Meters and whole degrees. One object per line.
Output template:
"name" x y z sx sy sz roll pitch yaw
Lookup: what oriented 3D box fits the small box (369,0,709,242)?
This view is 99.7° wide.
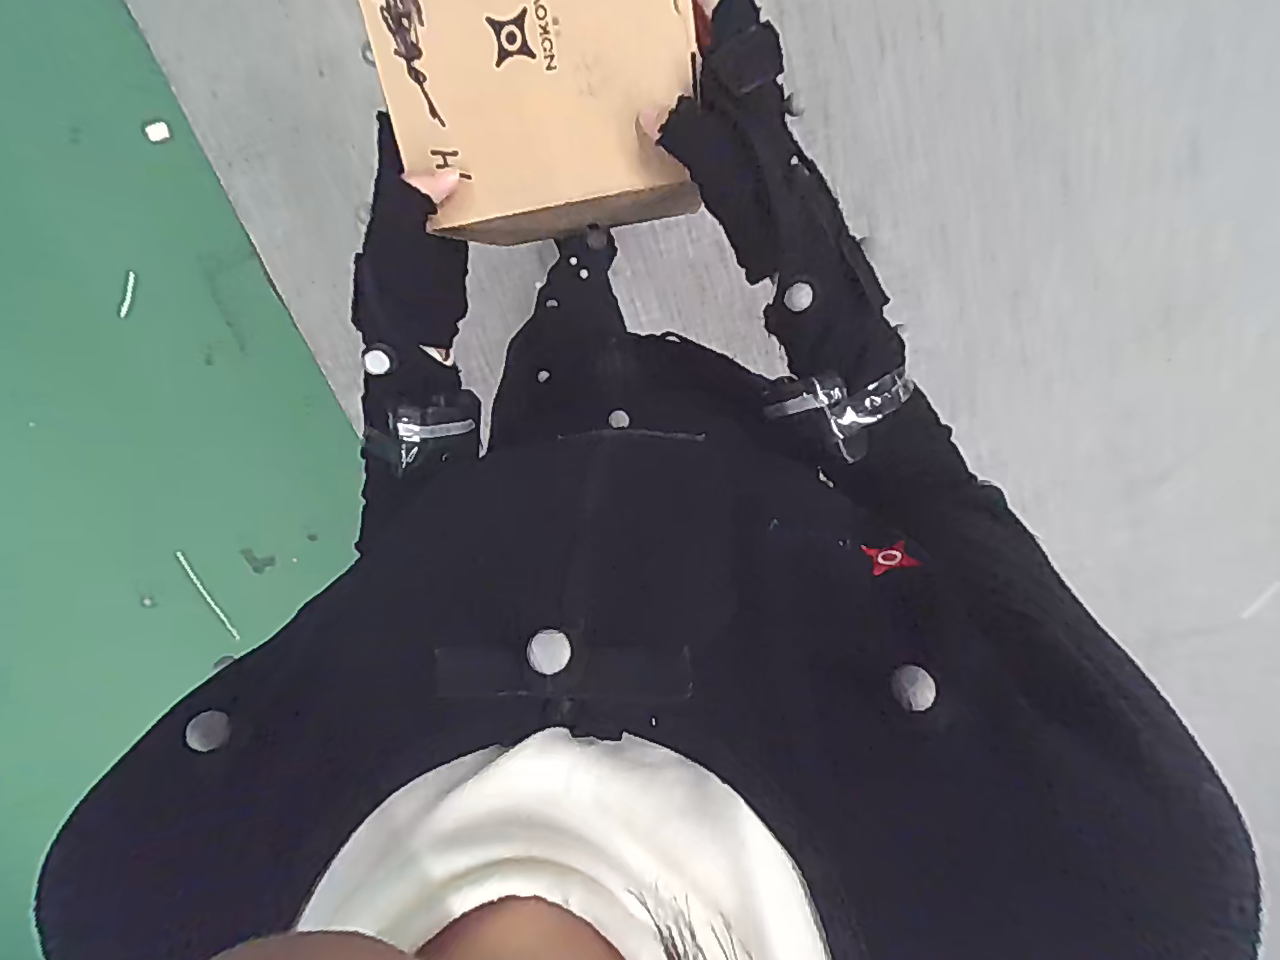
"small box" -0.053 -0.268 0.368 0.179 0.176 0.168 -7 108 6
